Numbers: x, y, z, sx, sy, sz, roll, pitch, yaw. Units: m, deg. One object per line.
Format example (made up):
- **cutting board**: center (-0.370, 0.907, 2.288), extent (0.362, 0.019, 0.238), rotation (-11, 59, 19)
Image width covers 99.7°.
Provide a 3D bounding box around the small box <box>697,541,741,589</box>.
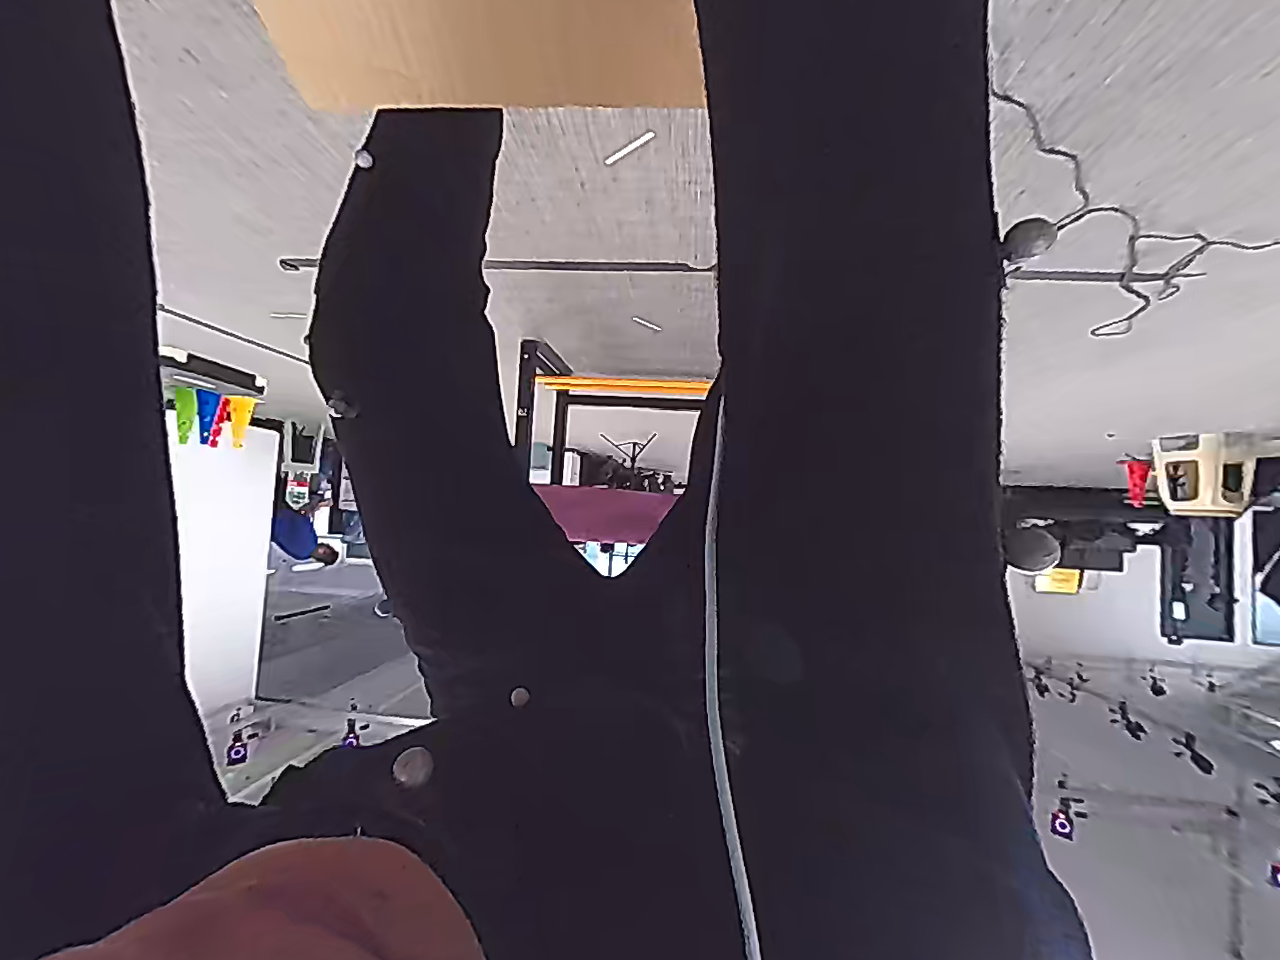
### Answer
- **small box**: center (0.309, 0.329, 2.130), extent (0.168, 0.176, 0.179), rotation (3, 177, 7)
